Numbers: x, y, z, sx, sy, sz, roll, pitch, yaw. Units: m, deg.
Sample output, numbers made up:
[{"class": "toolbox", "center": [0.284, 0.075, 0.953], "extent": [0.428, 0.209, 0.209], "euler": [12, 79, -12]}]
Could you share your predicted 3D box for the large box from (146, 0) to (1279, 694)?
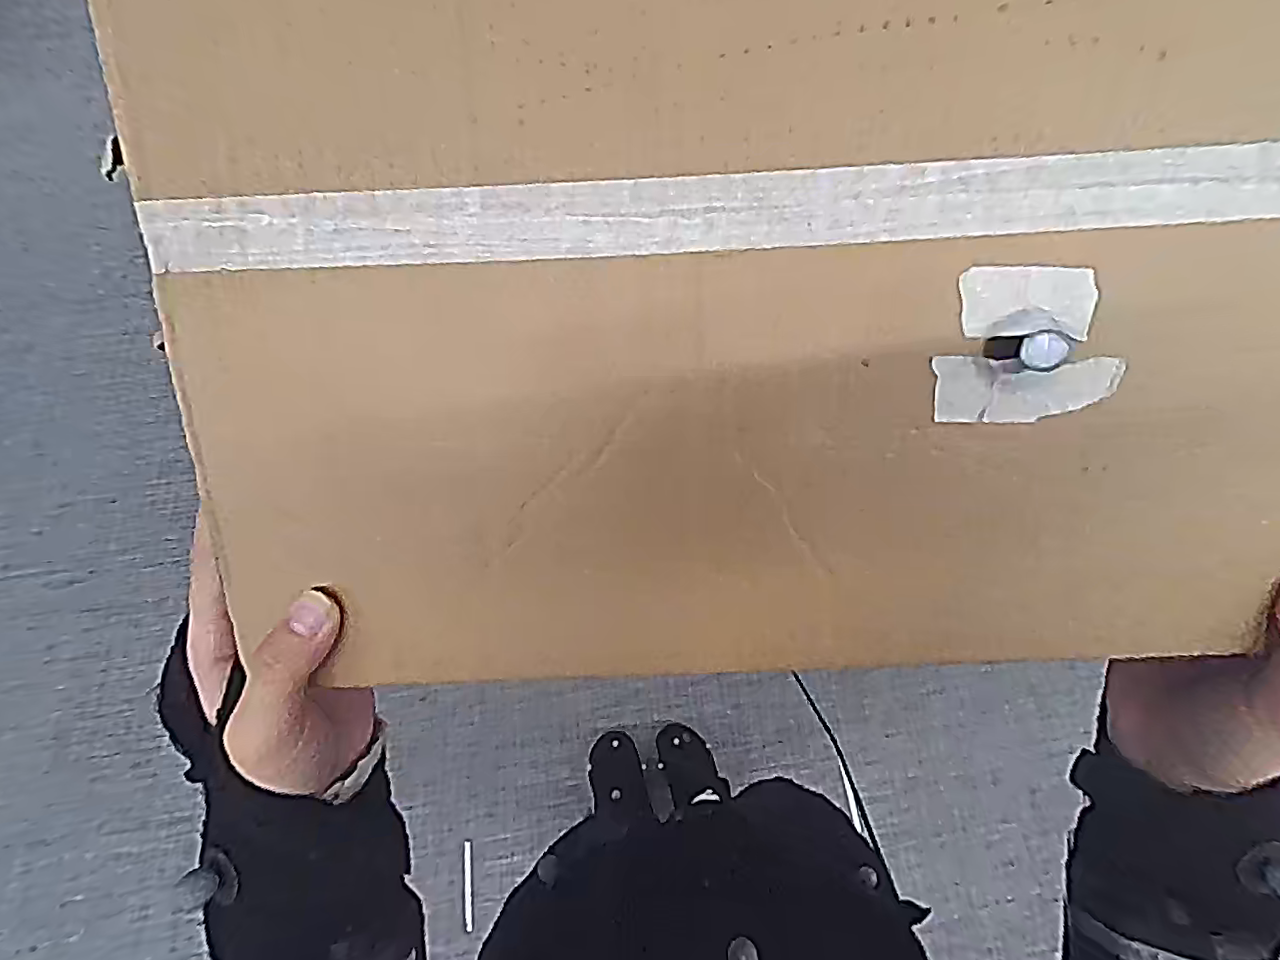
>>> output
[{"class": "large box", "center": [0.049, -0.108, 0.325], "extent": [0.408, 0.320, 0.320], "euler": [-3, 102, 0]}]
